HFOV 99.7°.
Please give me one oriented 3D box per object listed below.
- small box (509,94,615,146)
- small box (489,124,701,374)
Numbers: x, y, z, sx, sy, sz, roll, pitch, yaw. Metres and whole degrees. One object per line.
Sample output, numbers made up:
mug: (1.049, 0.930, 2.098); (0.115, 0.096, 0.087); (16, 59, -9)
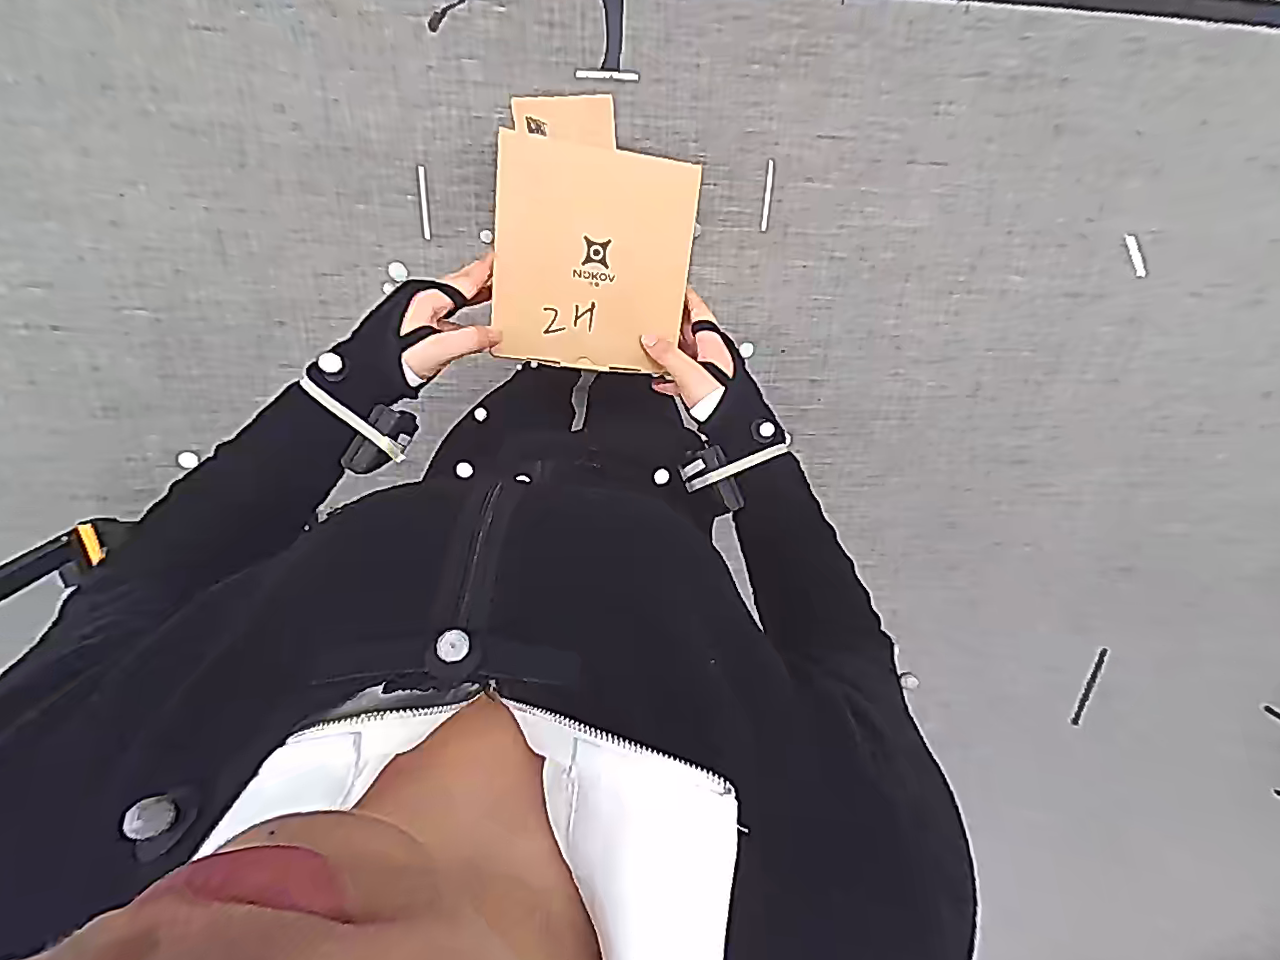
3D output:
small box: (-0.136, -0.599, 1.009); (0.179, 0.176, 0.168); (-5, 113, -4)
small box: (-0.053, -0.209, 0.526); (0.168, 0.176, 0.179); (4, 108, -12)
